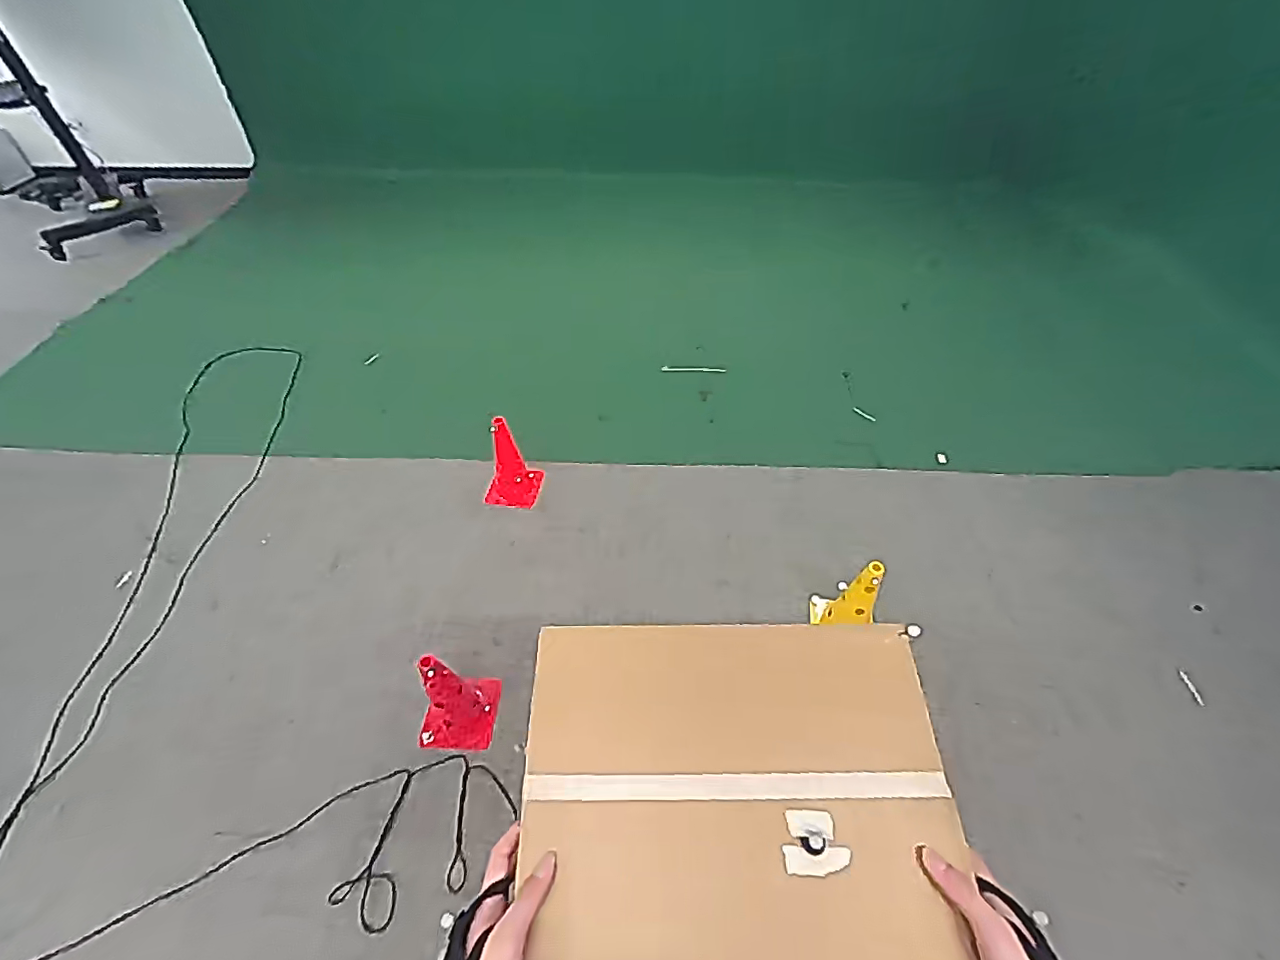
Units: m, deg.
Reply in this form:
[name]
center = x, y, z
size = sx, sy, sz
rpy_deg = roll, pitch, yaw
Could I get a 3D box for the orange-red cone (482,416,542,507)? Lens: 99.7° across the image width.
[orange-red cone]
center = -0.508, -0.090, 2.016
size = 0.199, 0.360, 0.198
rpy_deg = 6, 48, 7

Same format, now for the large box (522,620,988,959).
[large box]
center = 0.093, 0.373, 0.654
size = 0.408, 0.320, 0.320
rpy_deg = -1, 59, 0
